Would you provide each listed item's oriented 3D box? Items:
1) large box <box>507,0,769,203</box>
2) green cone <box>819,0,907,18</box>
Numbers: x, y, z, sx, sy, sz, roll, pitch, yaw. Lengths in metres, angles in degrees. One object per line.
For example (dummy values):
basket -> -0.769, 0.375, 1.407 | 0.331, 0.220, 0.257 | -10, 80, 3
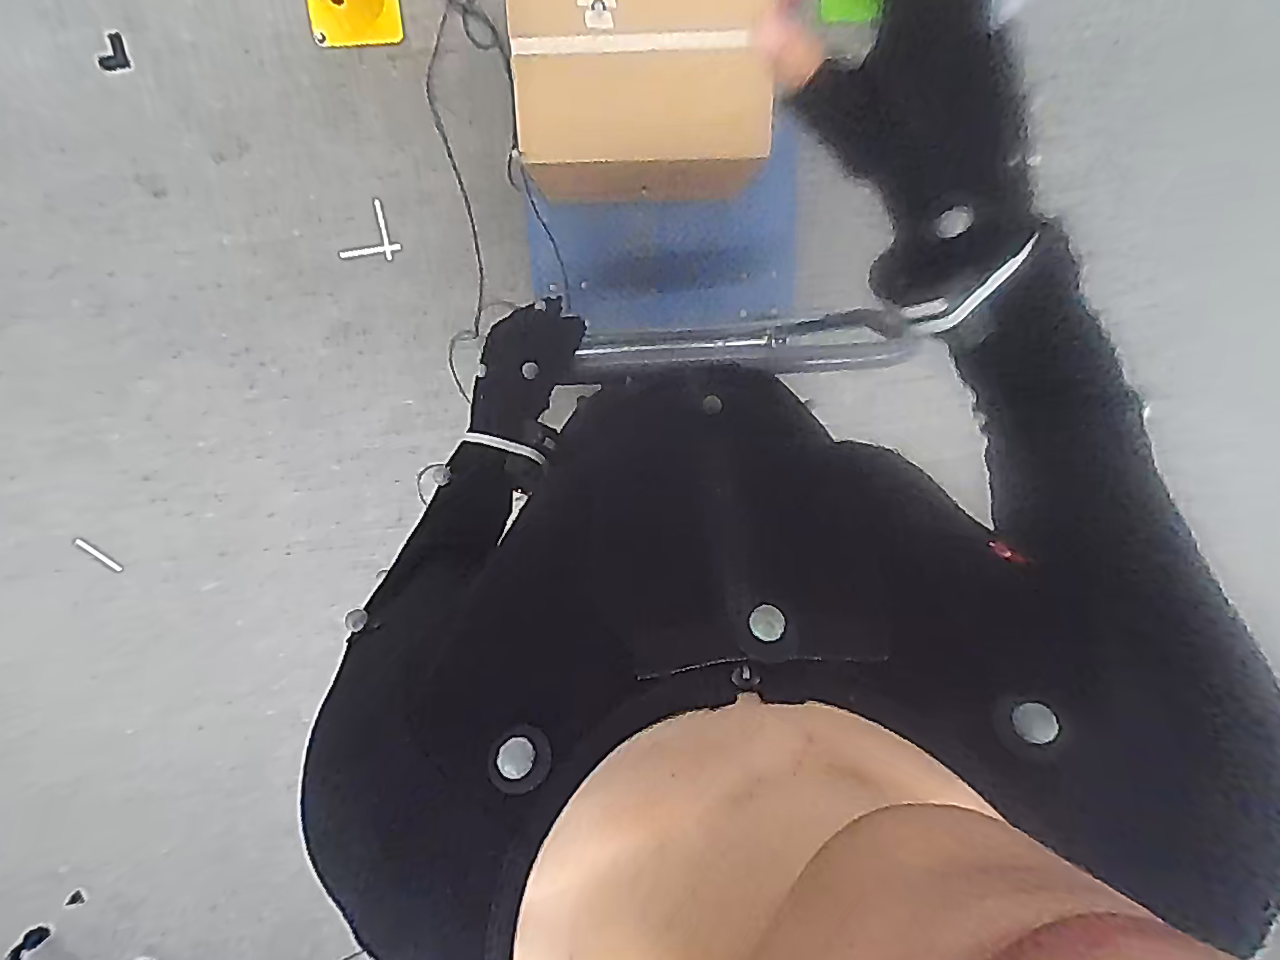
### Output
large box -> 0.001, -0.703, 0.976 | 0.408, 0.320, 0.320 | -2, 106, 1
green cone -> 0.500, -1.089, 1.023 | 0.202, 0.368, 0.200 | -3, 105, -1
